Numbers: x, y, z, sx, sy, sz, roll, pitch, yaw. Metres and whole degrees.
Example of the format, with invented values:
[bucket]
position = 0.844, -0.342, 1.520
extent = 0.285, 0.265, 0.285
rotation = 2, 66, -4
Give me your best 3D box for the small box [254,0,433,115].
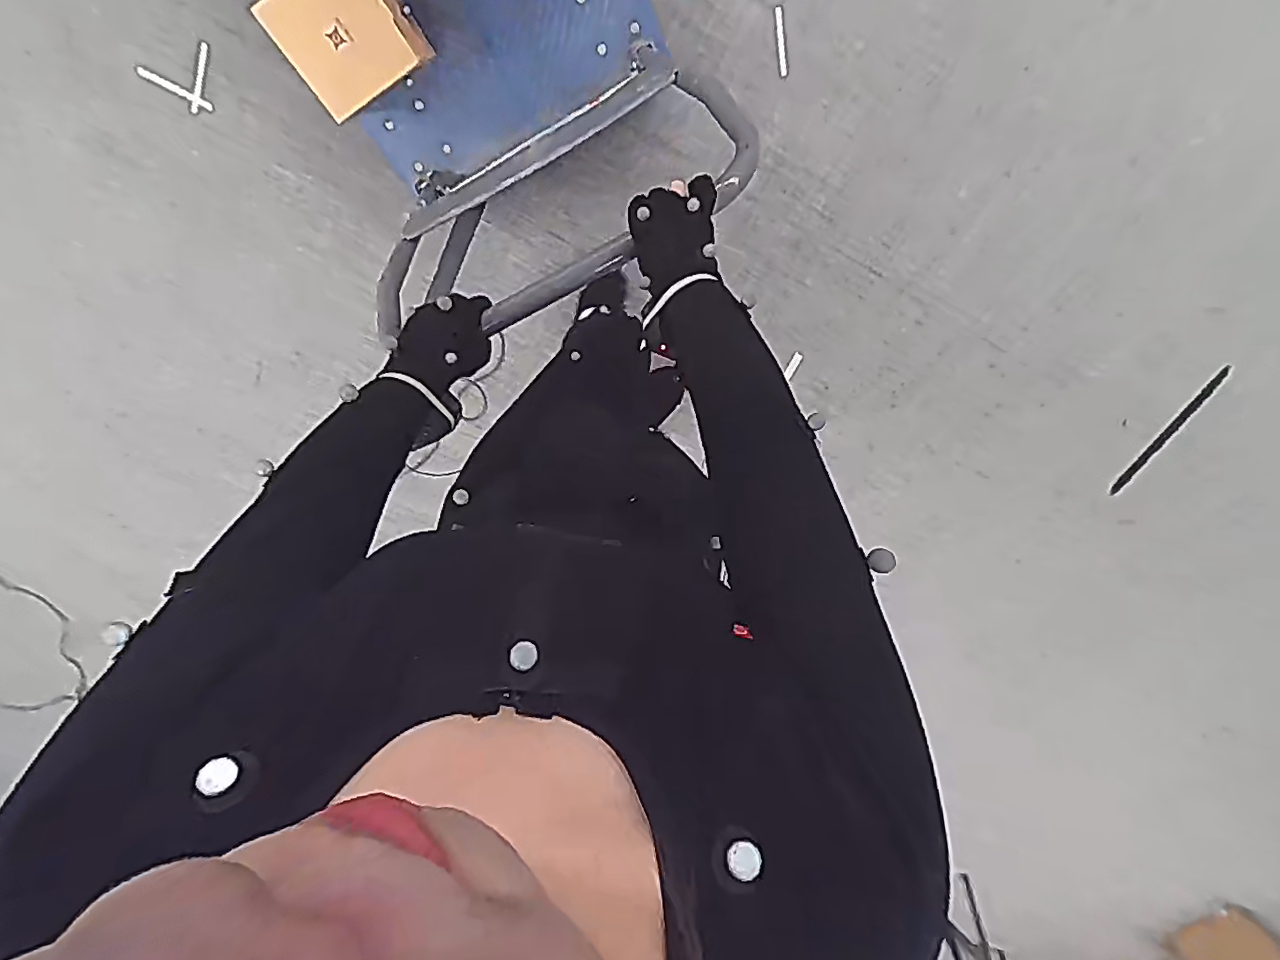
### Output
[small box]
position = -0.467, -0.736, 0.883
extent = 0.179, 0.176, 0.168
rotation = -27, 128, 12
